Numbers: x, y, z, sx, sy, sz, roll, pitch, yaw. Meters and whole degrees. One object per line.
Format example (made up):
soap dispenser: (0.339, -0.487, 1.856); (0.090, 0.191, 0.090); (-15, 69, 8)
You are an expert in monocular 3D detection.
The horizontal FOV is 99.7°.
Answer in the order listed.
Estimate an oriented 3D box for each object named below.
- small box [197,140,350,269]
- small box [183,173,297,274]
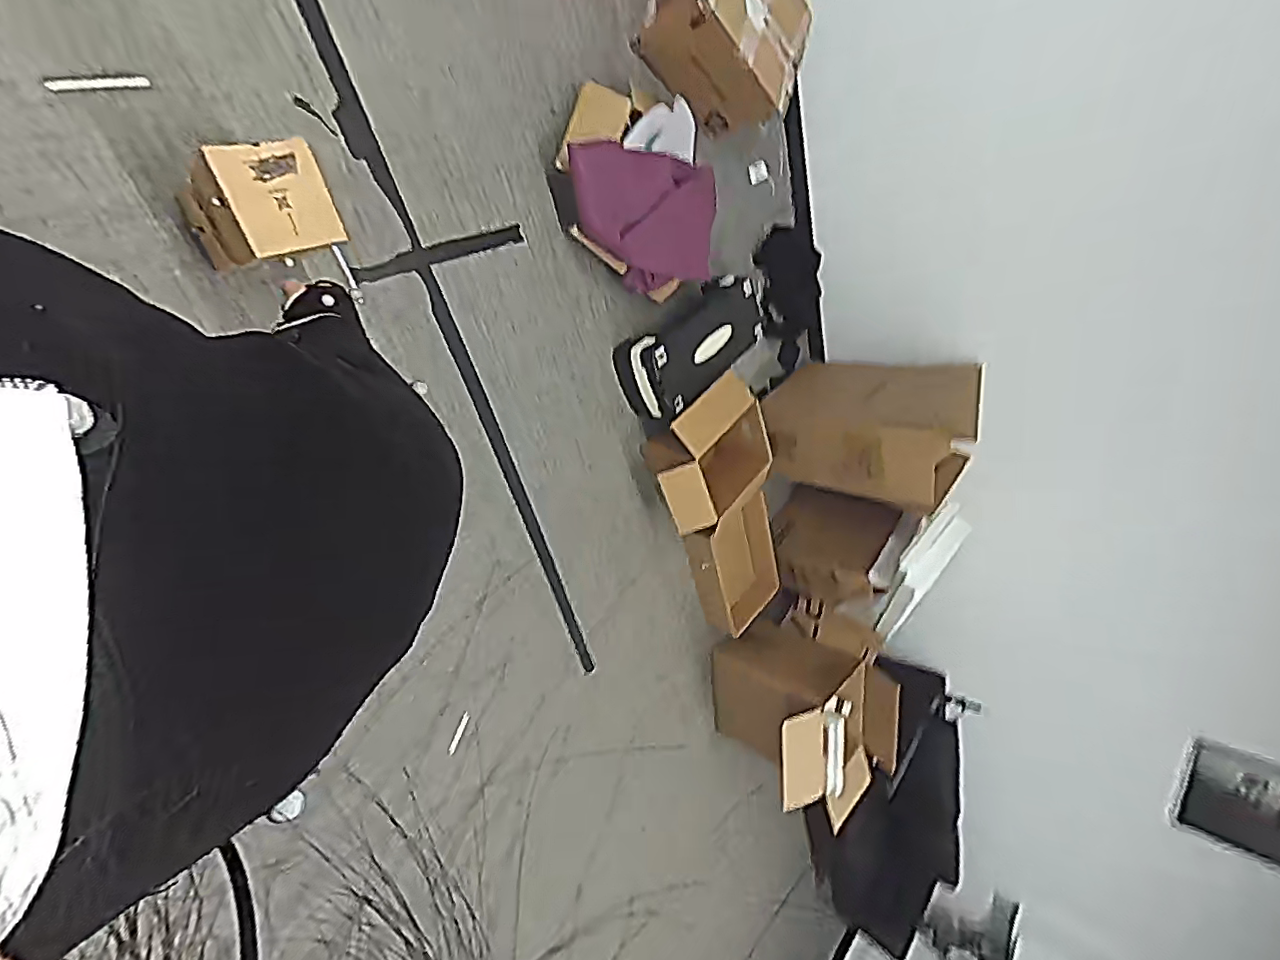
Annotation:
small box: (-0.687, -0.510, 1.012); (0.168, 0.176, 0.179); (-34, 122, -35)
small box: (-0.807, -0.536, 1.123); (0.179, 0.176, 0.168); (-33, 121, -35)
